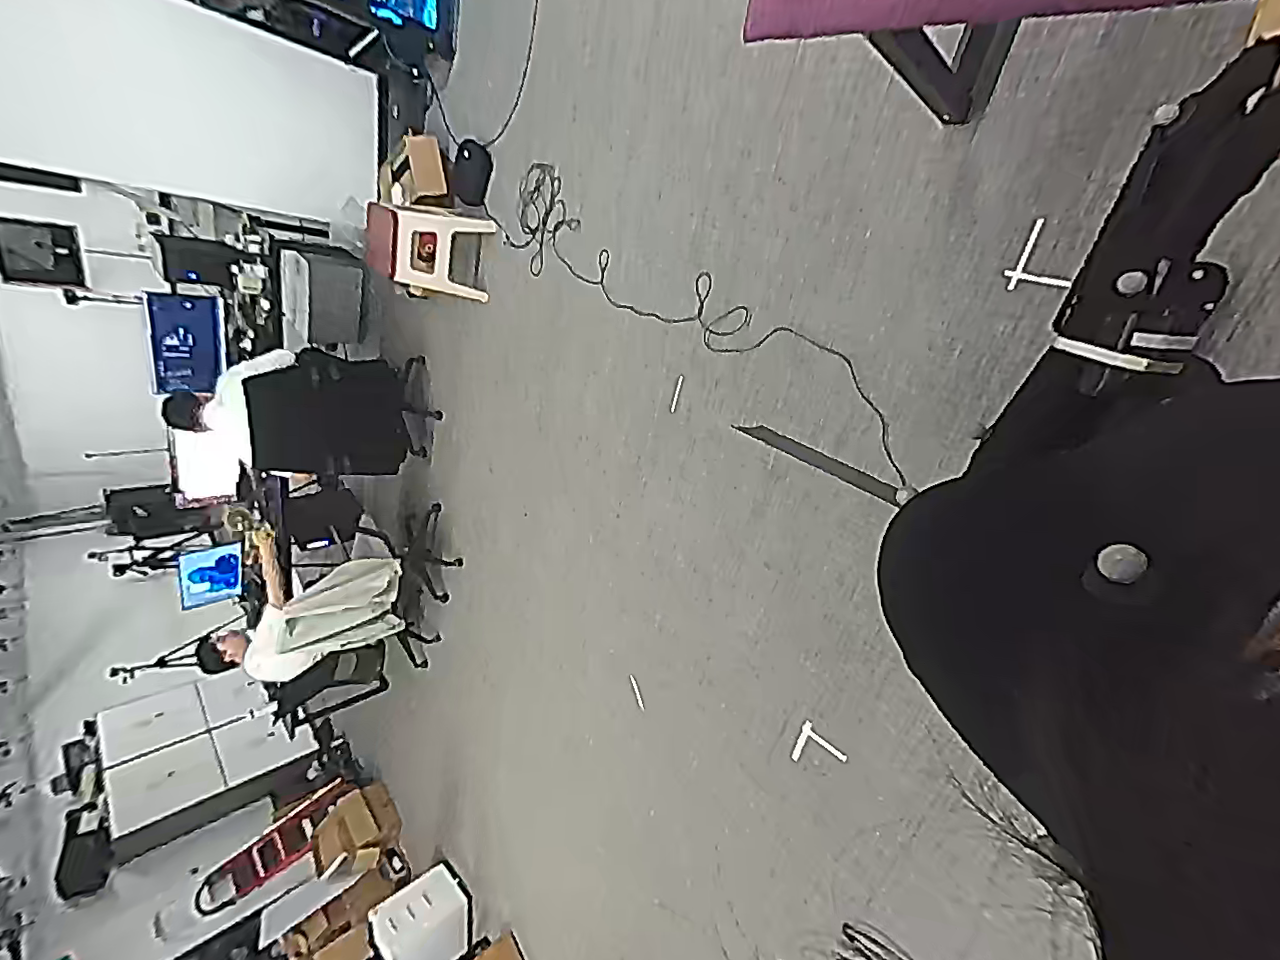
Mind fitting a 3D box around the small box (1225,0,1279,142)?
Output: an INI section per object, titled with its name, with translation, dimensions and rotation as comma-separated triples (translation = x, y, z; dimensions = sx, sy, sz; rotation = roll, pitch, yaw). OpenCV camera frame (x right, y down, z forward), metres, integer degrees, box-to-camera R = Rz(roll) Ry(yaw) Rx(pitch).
[small box]
translation = 0.527, -0.330, 0.332
dimensions = 0.179, 0.176, 0.168
rotation = 14, 110, 33
